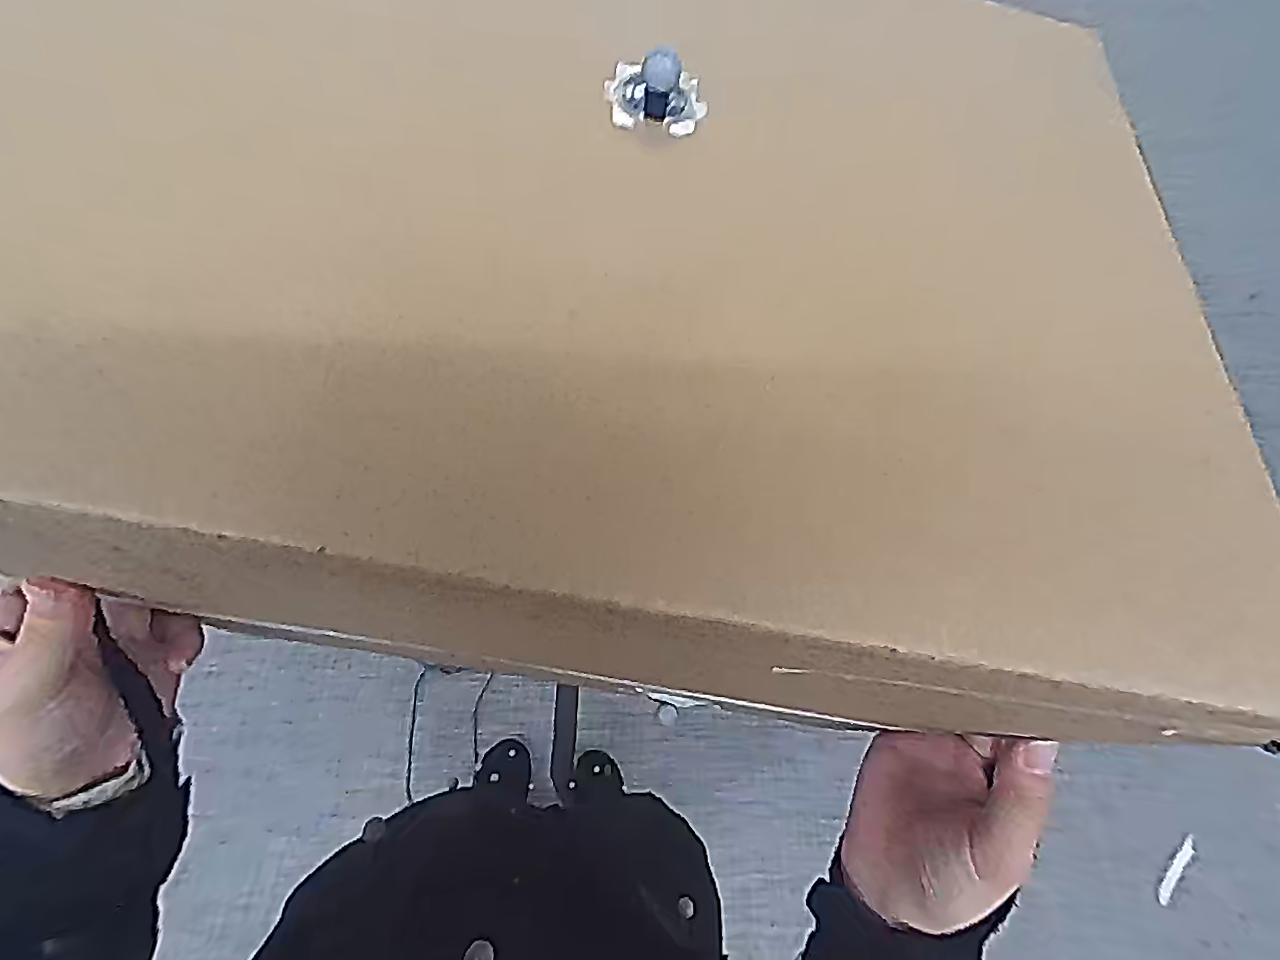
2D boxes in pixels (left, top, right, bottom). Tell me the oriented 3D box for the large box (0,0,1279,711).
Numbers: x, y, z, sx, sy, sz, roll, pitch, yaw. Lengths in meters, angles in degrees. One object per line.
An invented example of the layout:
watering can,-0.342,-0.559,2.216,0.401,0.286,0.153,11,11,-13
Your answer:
large box,-0.019,-0.066,0.312,0.408,0.320,0.320,11,67,-5
